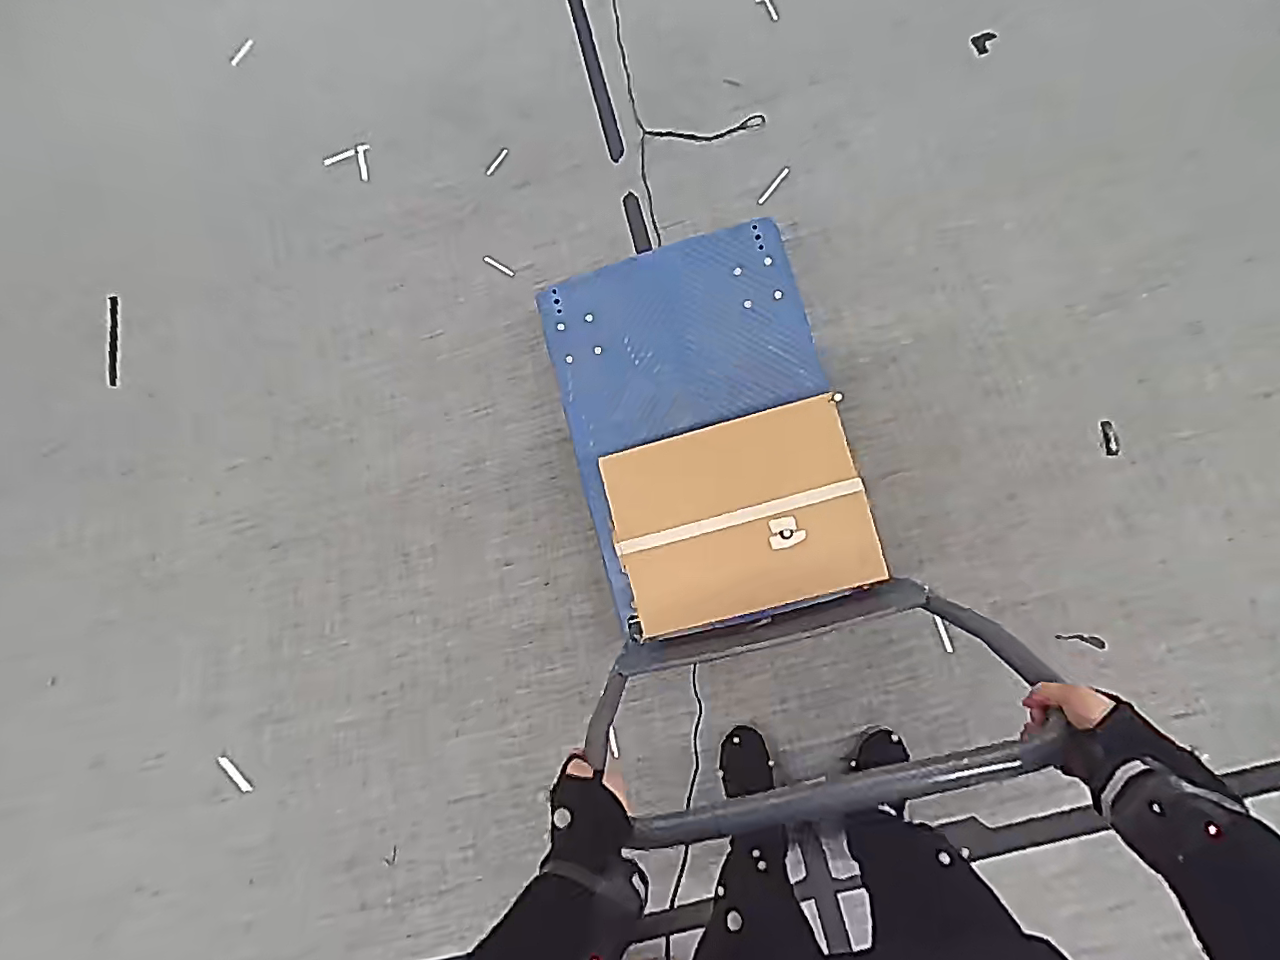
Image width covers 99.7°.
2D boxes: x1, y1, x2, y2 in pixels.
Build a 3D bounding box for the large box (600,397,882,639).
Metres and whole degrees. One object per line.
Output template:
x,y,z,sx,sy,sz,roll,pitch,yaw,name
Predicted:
0.175,0.074,1.043,0.408,0.320,0.320,-16,86,5,large box
